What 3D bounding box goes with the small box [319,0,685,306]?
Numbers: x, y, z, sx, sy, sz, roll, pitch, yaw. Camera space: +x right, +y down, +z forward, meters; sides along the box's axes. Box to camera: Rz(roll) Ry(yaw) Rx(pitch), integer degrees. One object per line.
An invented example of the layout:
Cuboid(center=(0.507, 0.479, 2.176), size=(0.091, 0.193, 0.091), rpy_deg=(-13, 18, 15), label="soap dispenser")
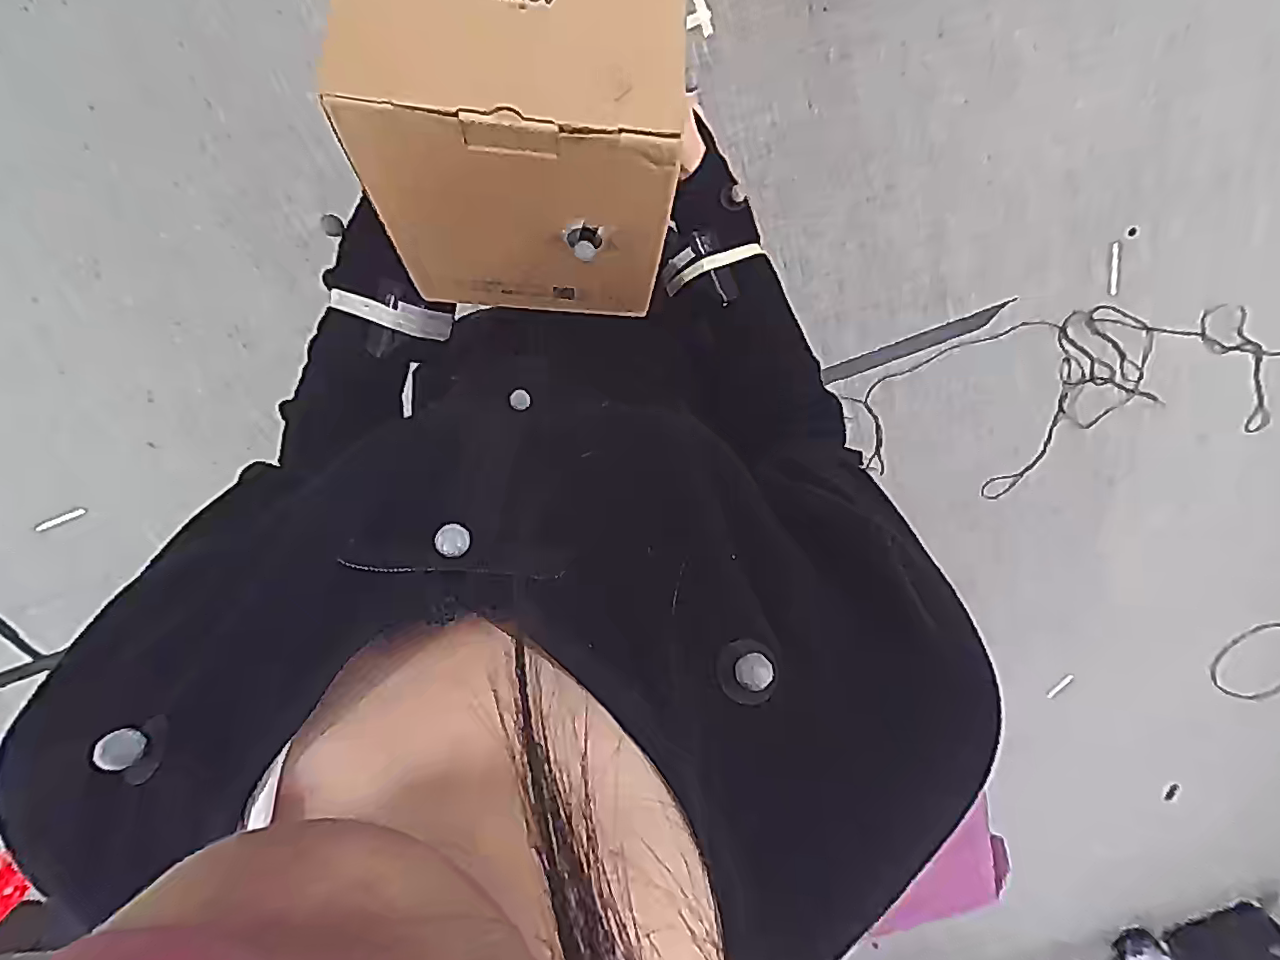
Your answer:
Cuboid(center=(-0.066, -0.231, 0.339), size=(0.168, 0.176, 0.179), rpy_deg=(3, 76, -7), label="small box")
